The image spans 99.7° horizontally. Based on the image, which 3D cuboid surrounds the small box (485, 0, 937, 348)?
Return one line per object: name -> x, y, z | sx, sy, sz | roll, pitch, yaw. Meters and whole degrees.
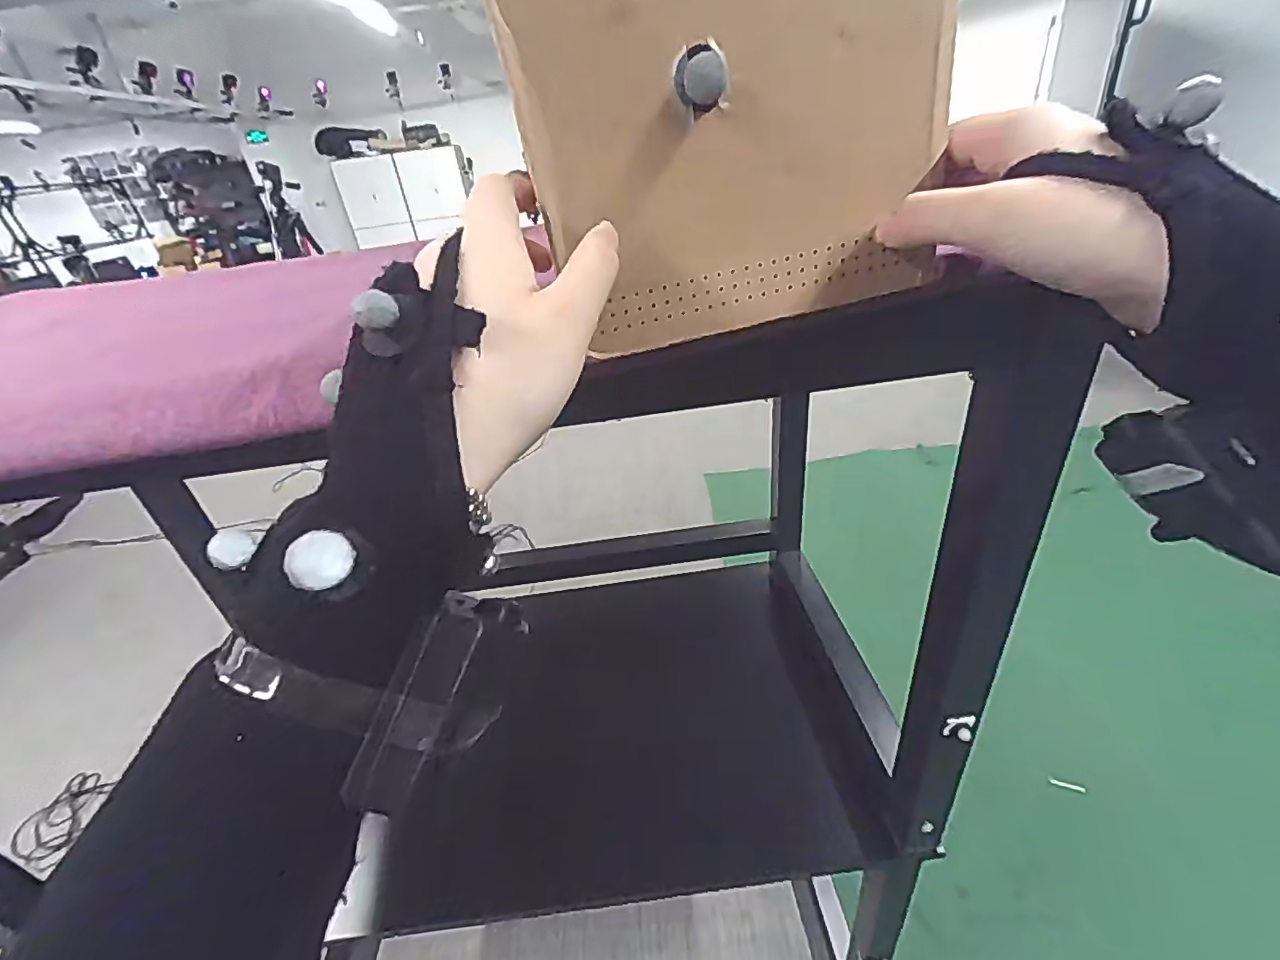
small box -> 0.031, -0.182, 0.280 | 0.179, 0.176, 0.168 | -14, 32, -1
